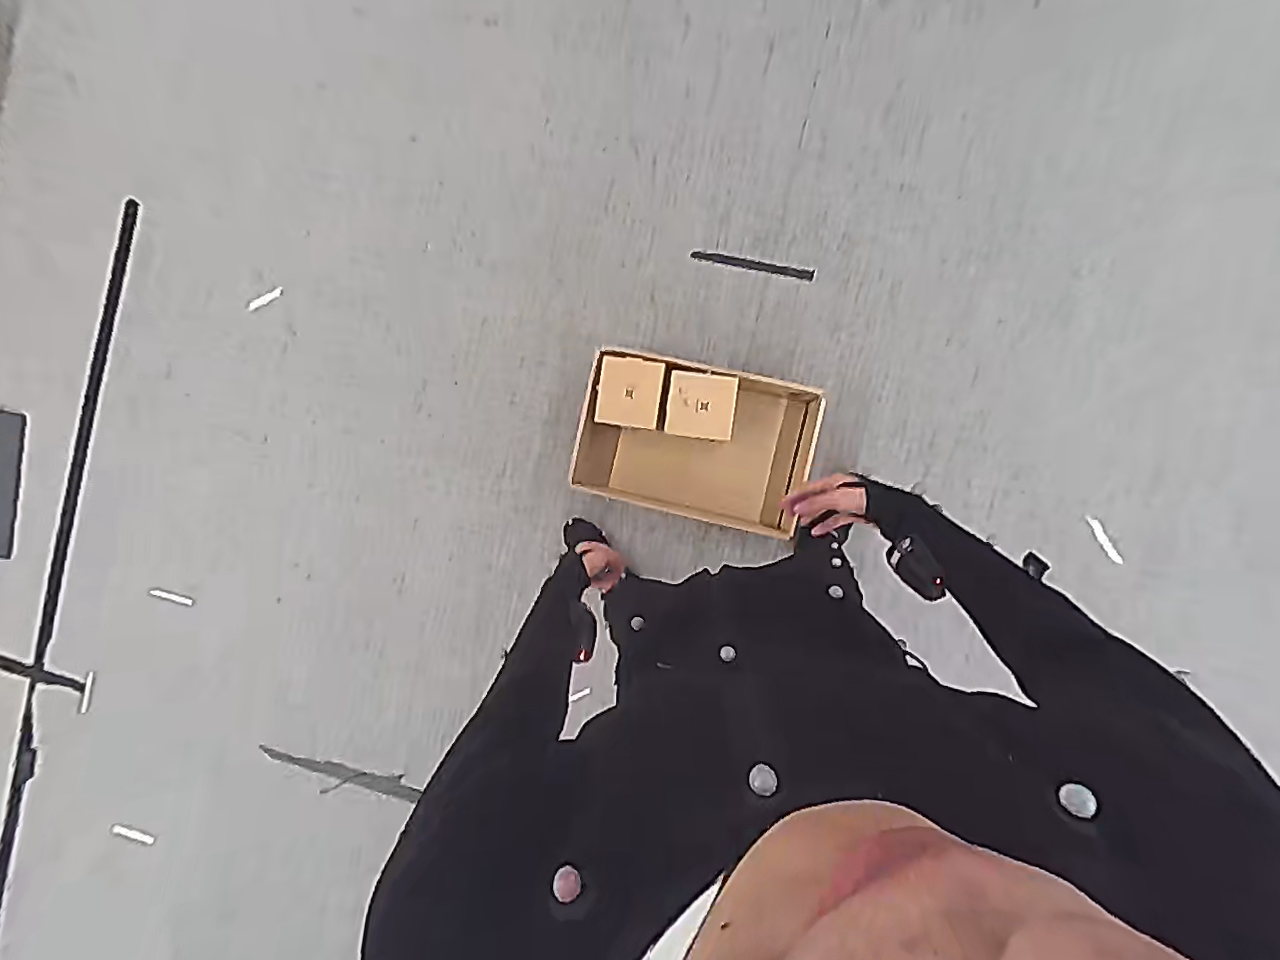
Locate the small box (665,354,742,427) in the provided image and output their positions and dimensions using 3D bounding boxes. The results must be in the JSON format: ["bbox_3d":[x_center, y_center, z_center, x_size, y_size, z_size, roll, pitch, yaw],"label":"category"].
[{"bbox_3d":[0.165,-0.234,1.445,0.179,0.176,0.168,8,95,4],"label":"small box"}]
